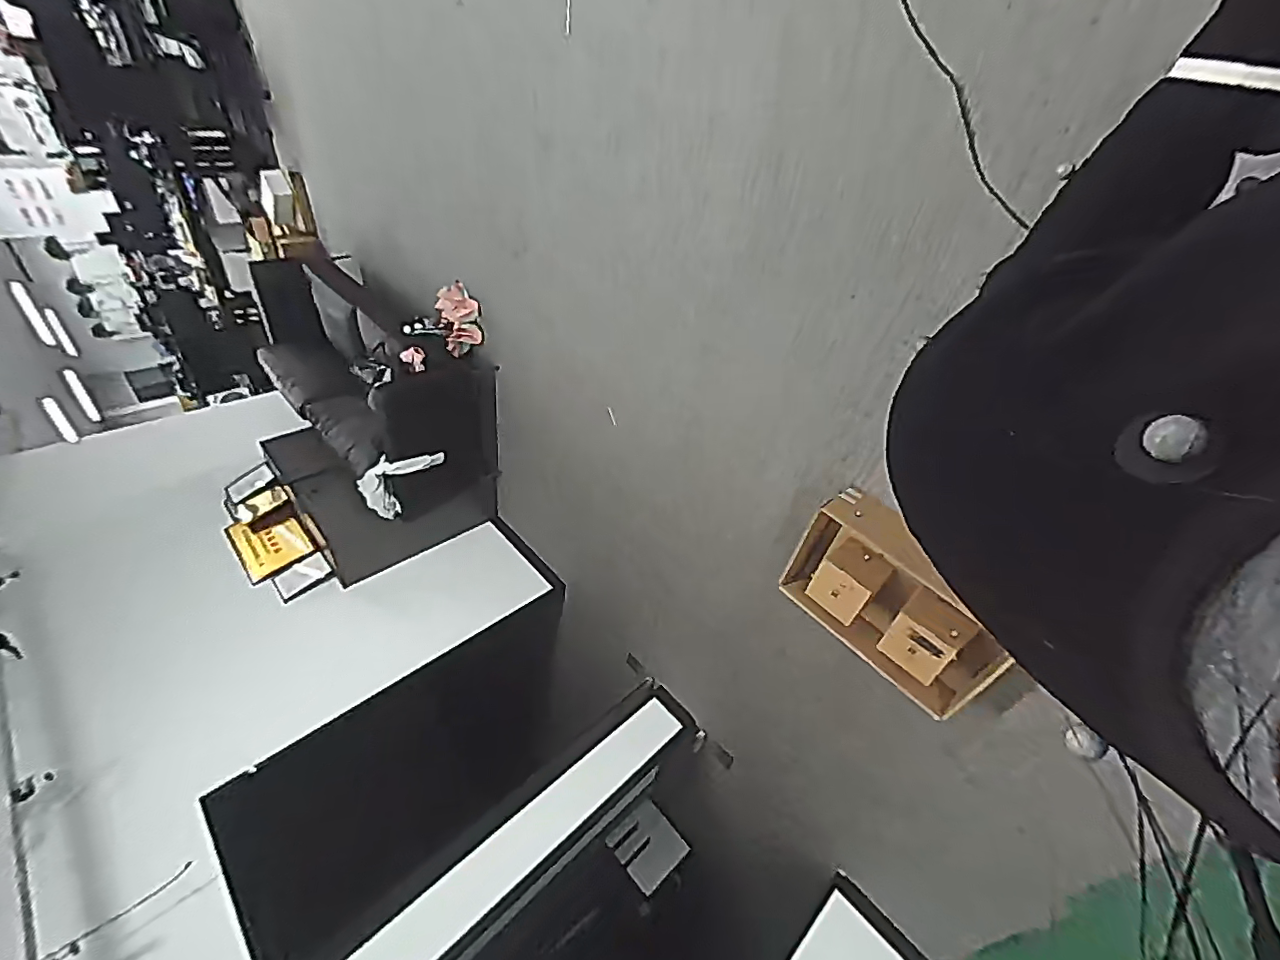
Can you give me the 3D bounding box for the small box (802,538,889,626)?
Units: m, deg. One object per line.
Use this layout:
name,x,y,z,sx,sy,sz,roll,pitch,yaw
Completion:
small box,0.652,0.318,1.707,0.168,0.176,0.179,40,136,27
